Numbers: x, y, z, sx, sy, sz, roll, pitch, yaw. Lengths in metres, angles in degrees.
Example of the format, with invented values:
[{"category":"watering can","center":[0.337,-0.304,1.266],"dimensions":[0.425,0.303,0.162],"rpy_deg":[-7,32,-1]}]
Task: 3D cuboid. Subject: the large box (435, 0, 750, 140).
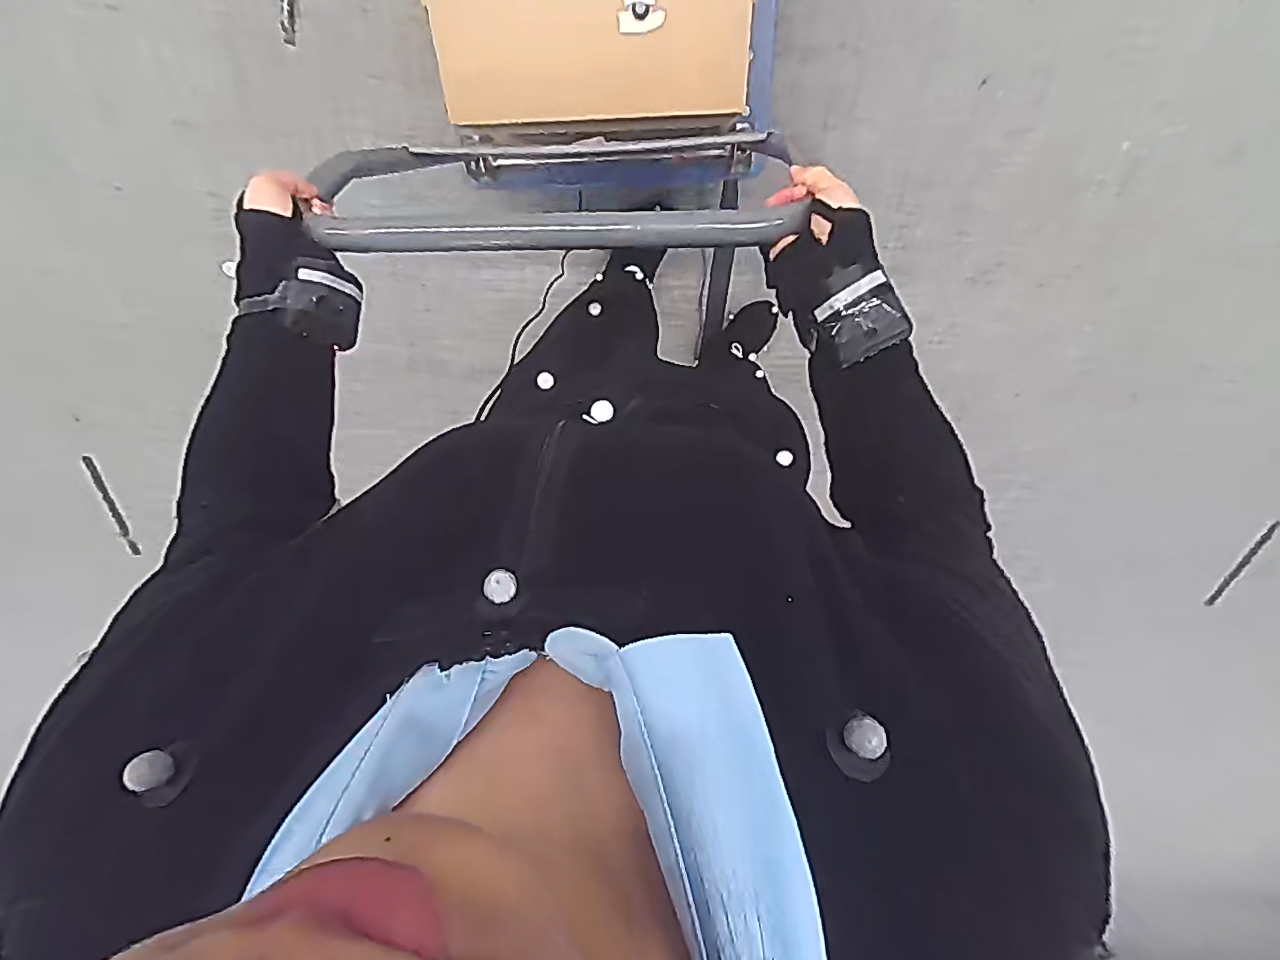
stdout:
[{"category":"large box","center":[-0.060,-0.698,0.792],"dimensions":[0.408,0.320,0.320],"rpy_deg":[-1,121,2]}]
